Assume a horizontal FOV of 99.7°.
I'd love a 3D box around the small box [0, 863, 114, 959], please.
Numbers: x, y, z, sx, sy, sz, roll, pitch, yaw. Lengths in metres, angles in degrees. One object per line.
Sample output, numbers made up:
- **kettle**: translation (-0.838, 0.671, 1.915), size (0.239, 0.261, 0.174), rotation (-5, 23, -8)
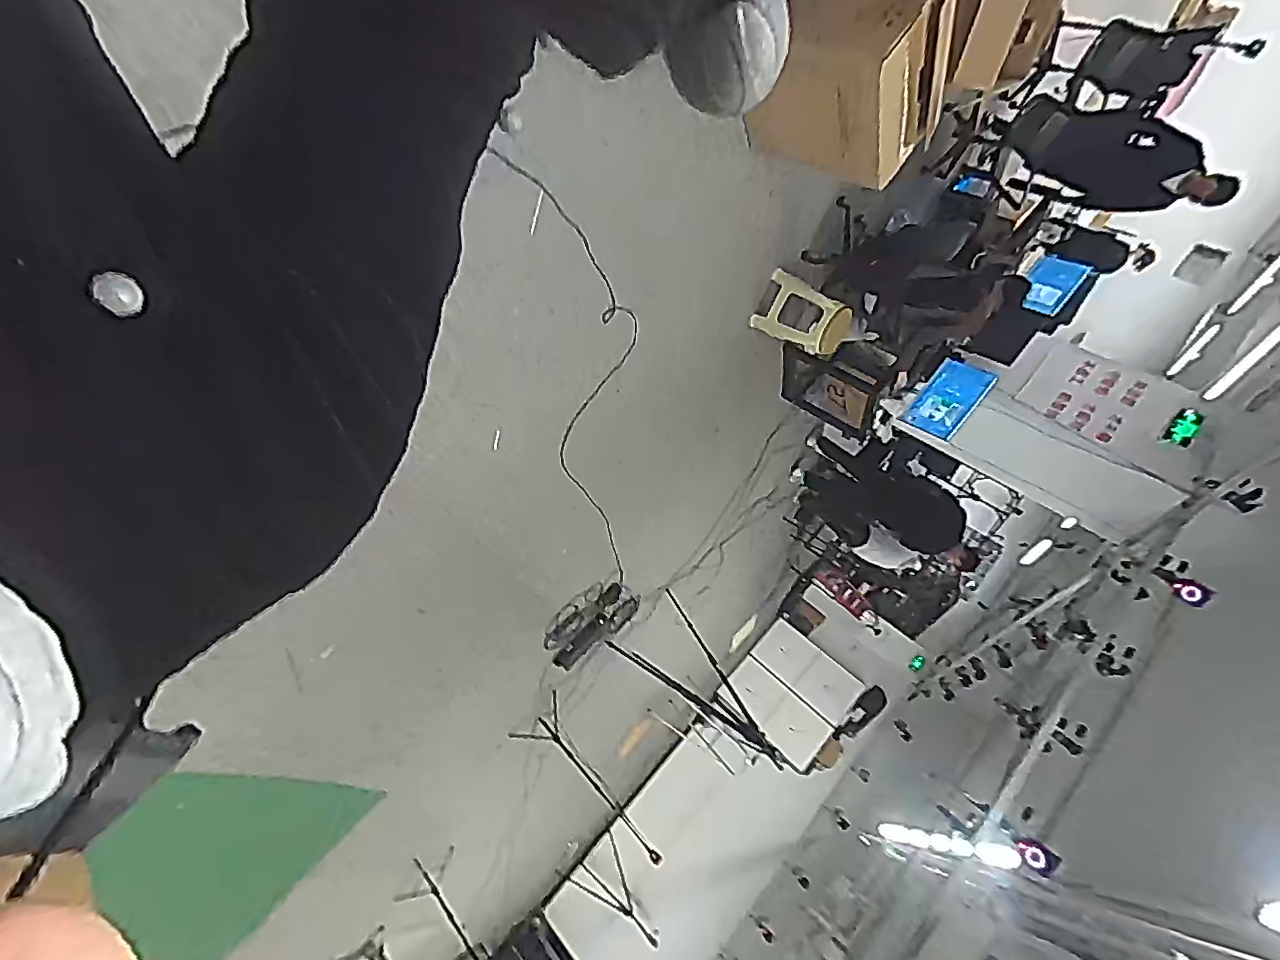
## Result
- **small box**: translation (-1.019, 0.753, 0.863), size (0.168, 0.176, 0.179), rotation (-45, 150, -16)
